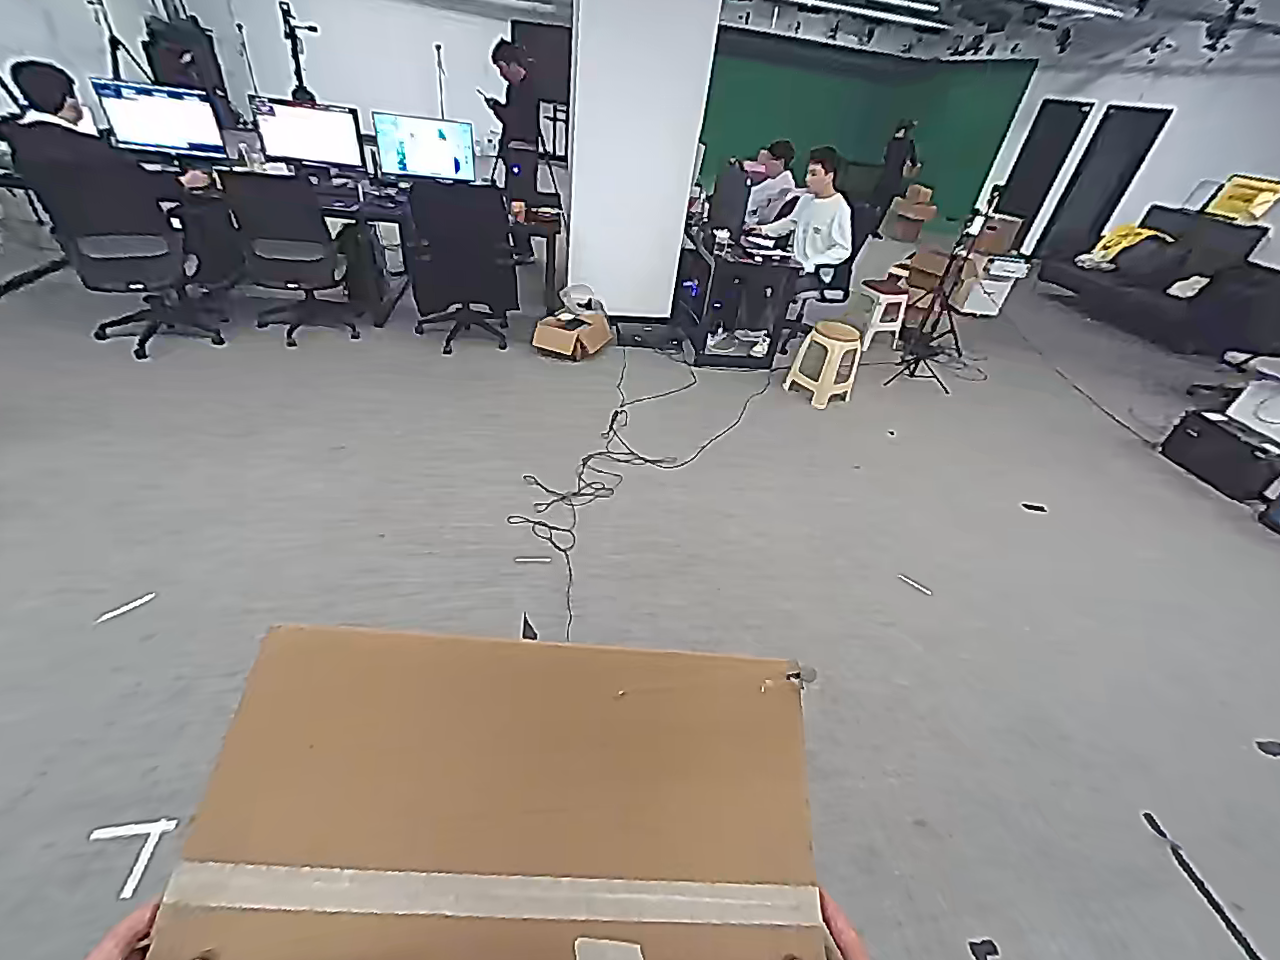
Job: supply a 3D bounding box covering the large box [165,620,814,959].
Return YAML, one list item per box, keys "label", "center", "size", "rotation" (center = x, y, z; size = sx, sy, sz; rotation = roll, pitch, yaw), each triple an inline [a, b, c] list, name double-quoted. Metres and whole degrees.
- label: "large box"
  center: [-0.098, 0.329, 0.486]
  size: [0.408, 0.320, 0.320]
  rotation: [6, 62, -4]
